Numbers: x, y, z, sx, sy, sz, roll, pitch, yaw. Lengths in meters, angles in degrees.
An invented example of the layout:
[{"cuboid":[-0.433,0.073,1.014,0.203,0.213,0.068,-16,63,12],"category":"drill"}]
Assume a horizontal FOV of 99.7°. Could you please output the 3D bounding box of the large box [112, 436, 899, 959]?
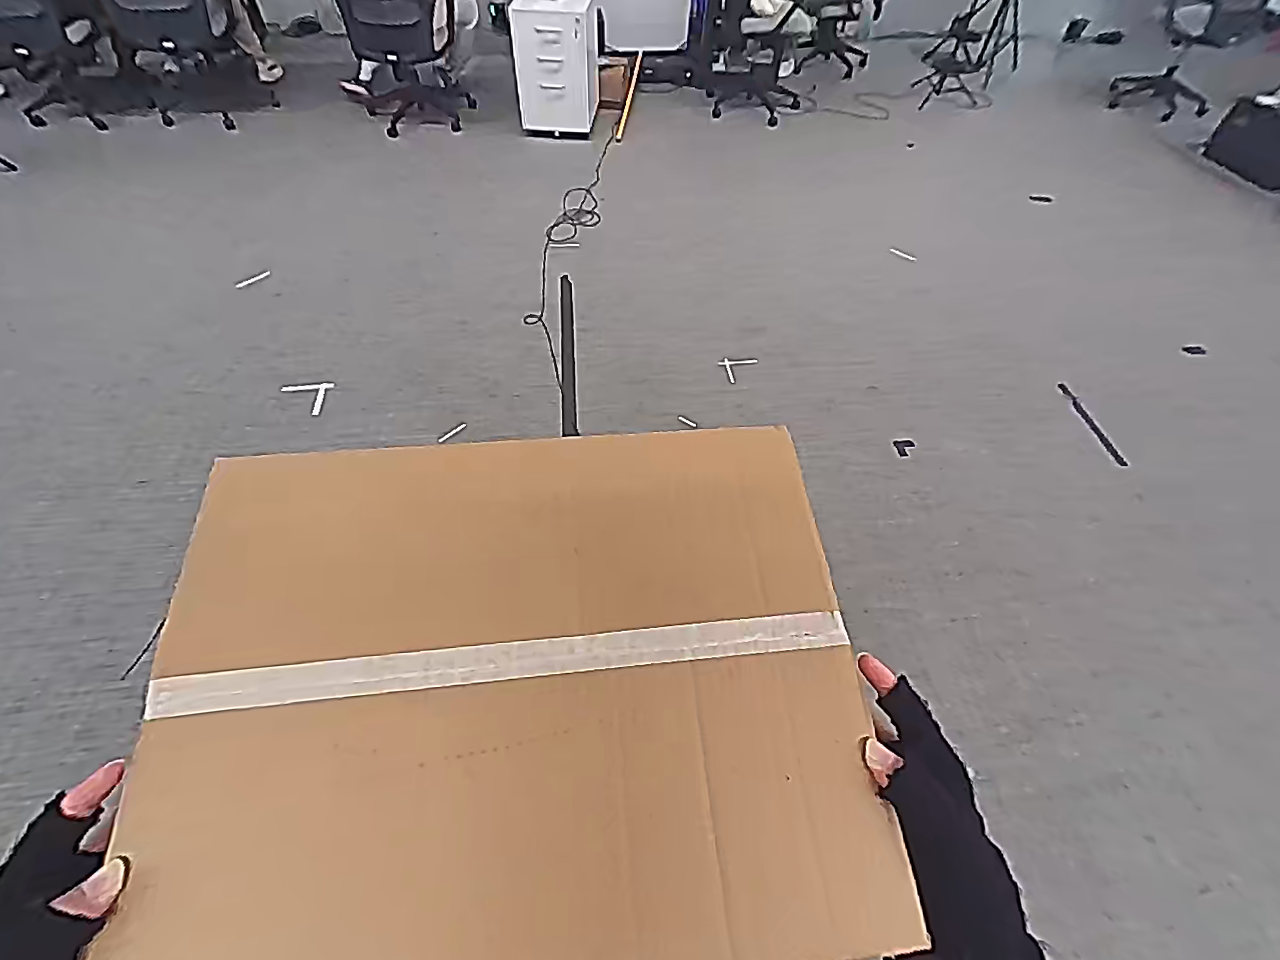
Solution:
[{"cuboid":[-0.083,0.185,0.467,0.408,0.320,0.320,-4,63,-6],"category":"large box"}]
